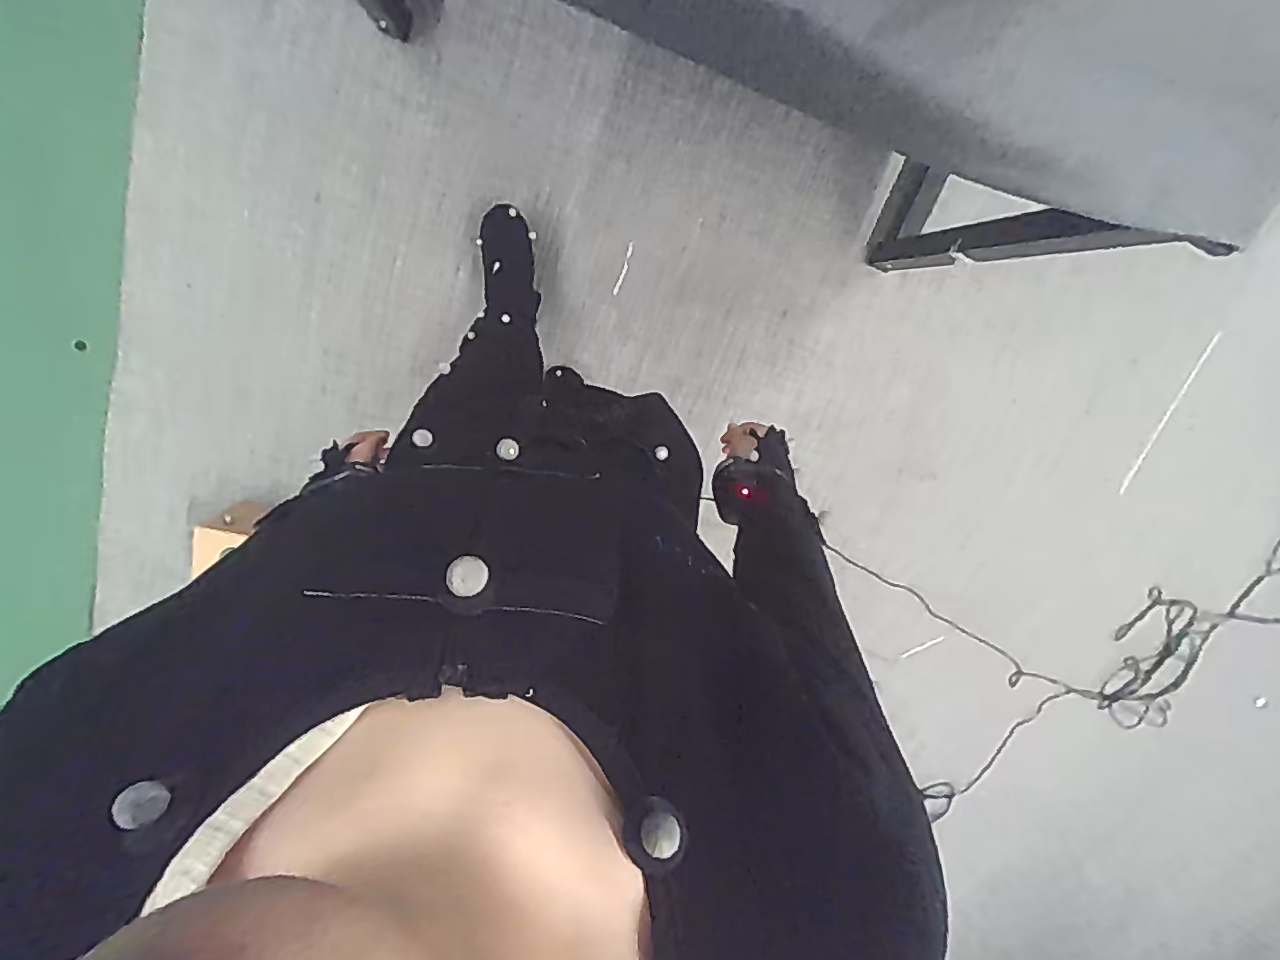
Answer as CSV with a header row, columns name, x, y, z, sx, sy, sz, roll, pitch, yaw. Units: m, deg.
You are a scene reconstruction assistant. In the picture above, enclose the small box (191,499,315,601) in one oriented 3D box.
name,x,y,z,sx,sy,sz,roll,pitch,yaw
small box,-0.902,0.157,1.269,0.179,0.176,0.168,13,107,-10
